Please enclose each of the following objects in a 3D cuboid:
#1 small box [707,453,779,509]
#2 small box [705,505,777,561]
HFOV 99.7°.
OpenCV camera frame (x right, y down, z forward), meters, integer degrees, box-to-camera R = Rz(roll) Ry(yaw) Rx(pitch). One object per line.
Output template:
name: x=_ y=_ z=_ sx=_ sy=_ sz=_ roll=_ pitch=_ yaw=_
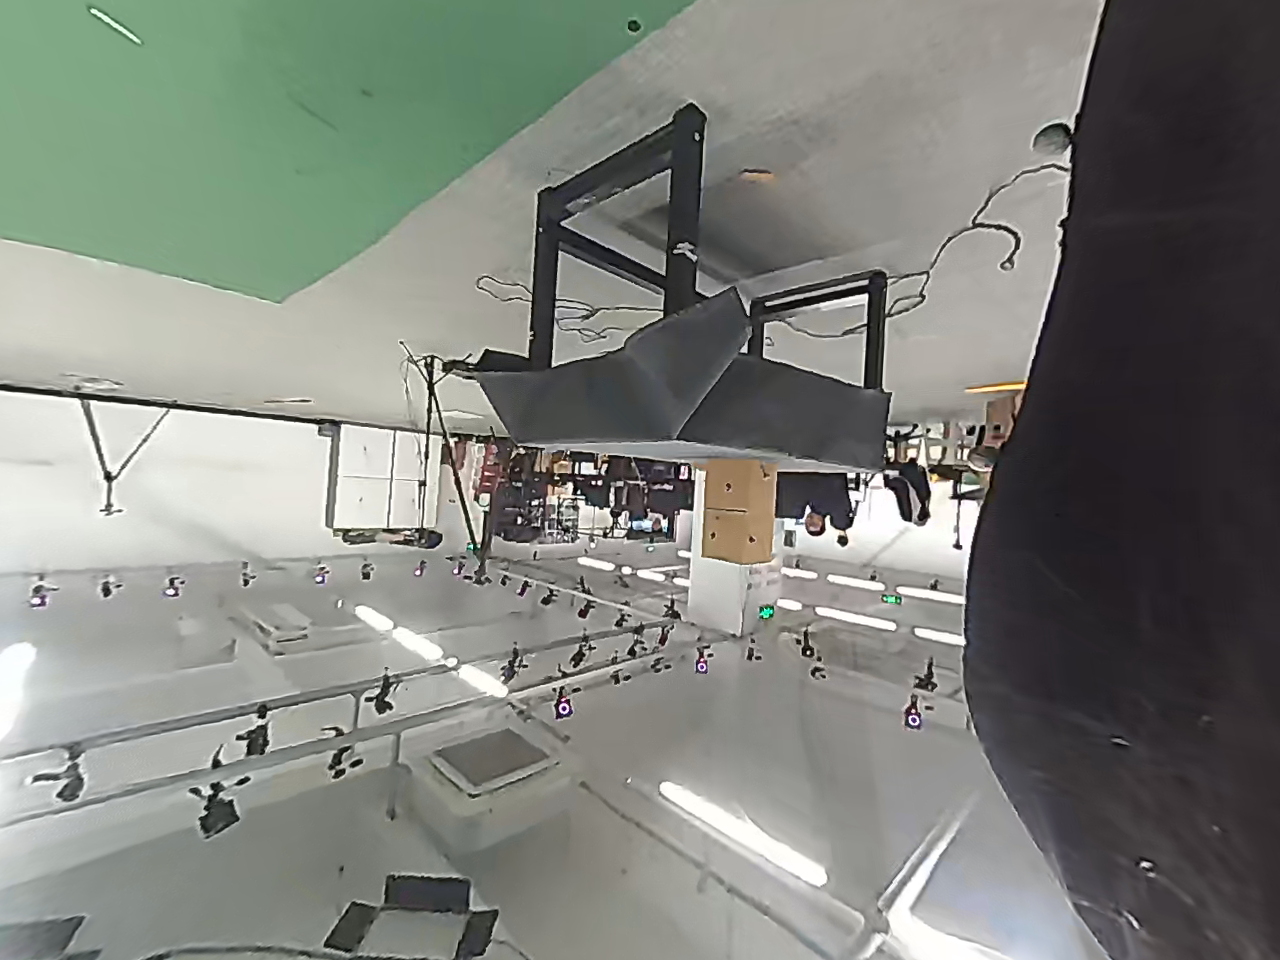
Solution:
small box: x=0.341 y=0.003 z=1.769 sx=0.179 sy=0.176 sz=0.168 roll=2 pitch=179 yaw=44
small box: x=0.331 y=0.166 z=1.773 sx=0.179 sy=0.176 sz=0.168 roll=4 pitch=-179 yaw=-44
